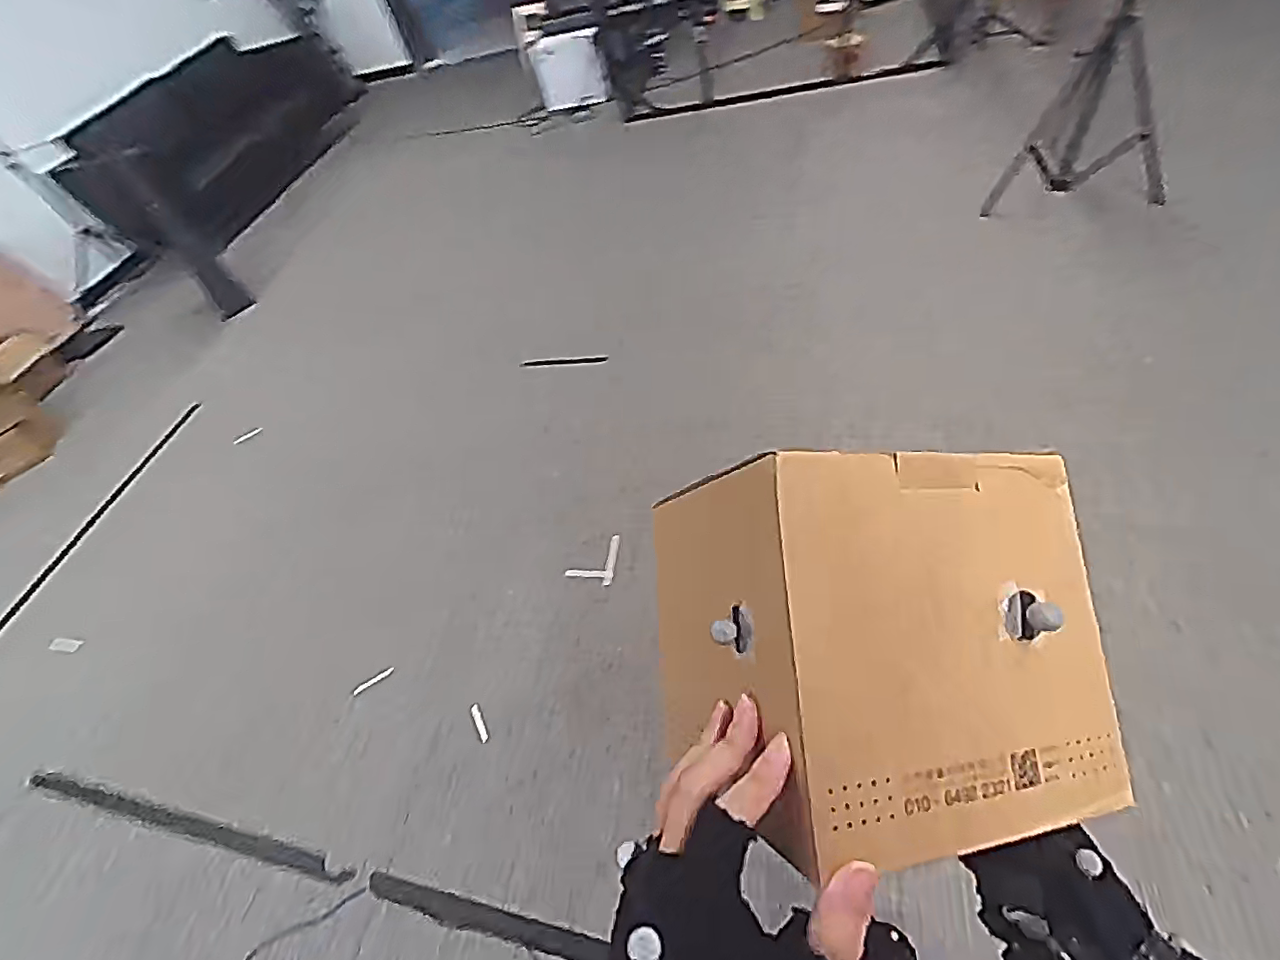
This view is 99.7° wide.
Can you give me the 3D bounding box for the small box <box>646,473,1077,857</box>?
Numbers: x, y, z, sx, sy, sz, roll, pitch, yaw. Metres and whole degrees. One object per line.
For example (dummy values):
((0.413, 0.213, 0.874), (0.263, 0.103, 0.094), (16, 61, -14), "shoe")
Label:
((0.110, 0.097, 0.327), (0.168, 0.179, 0.176), (-1, 79, -16), "small box")
